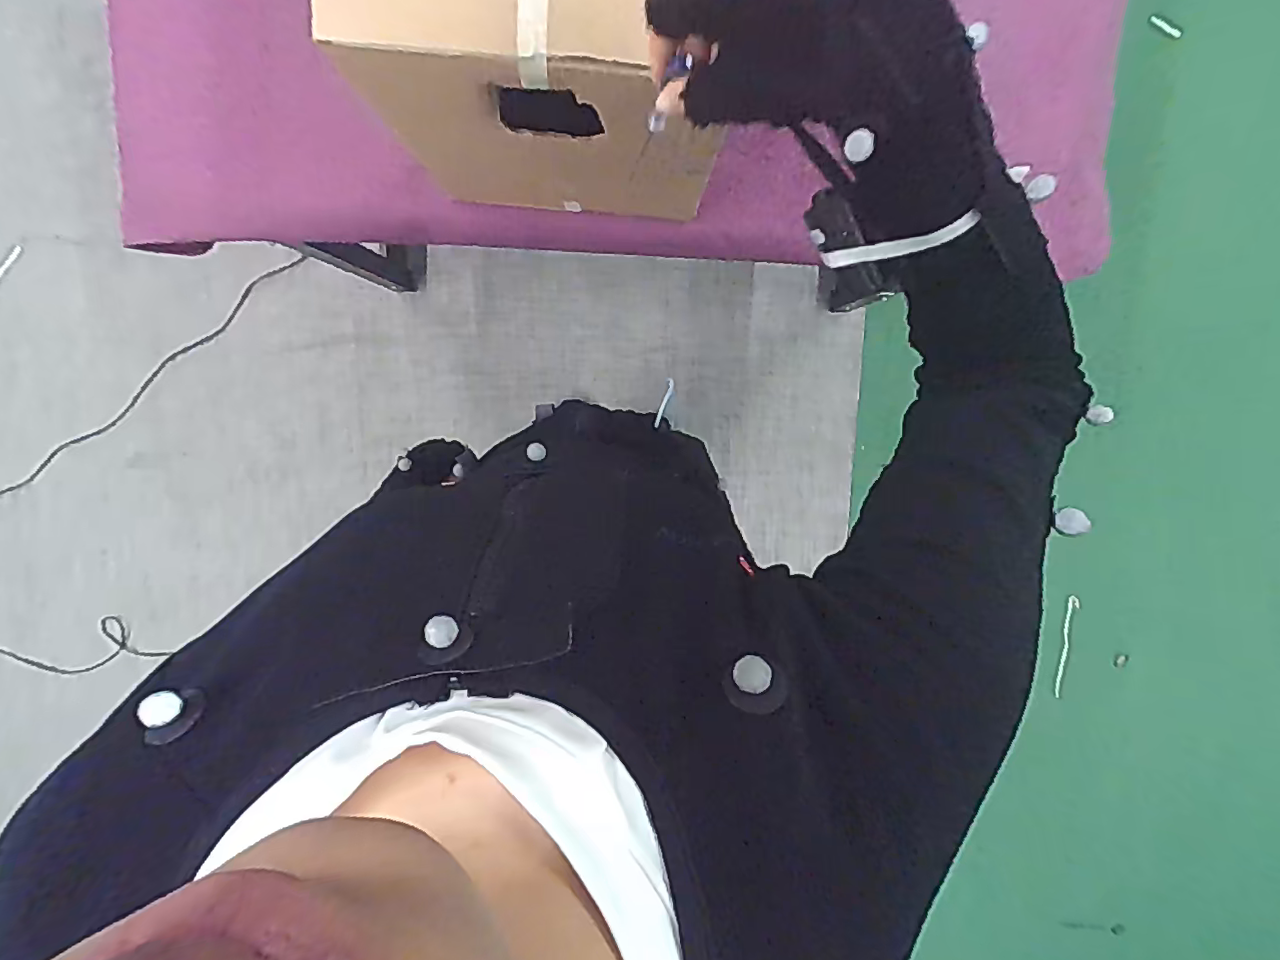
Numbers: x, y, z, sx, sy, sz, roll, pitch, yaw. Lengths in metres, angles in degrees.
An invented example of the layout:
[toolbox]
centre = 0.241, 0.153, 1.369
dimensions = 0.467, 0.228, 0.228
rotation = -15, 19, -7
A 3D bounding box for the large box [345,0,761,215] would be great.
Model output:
[large box]
centre = -0.058, -0.526, 0.521
dimensions = 0.320, 0.320, 0.408
rotation = 5, 99, -2
